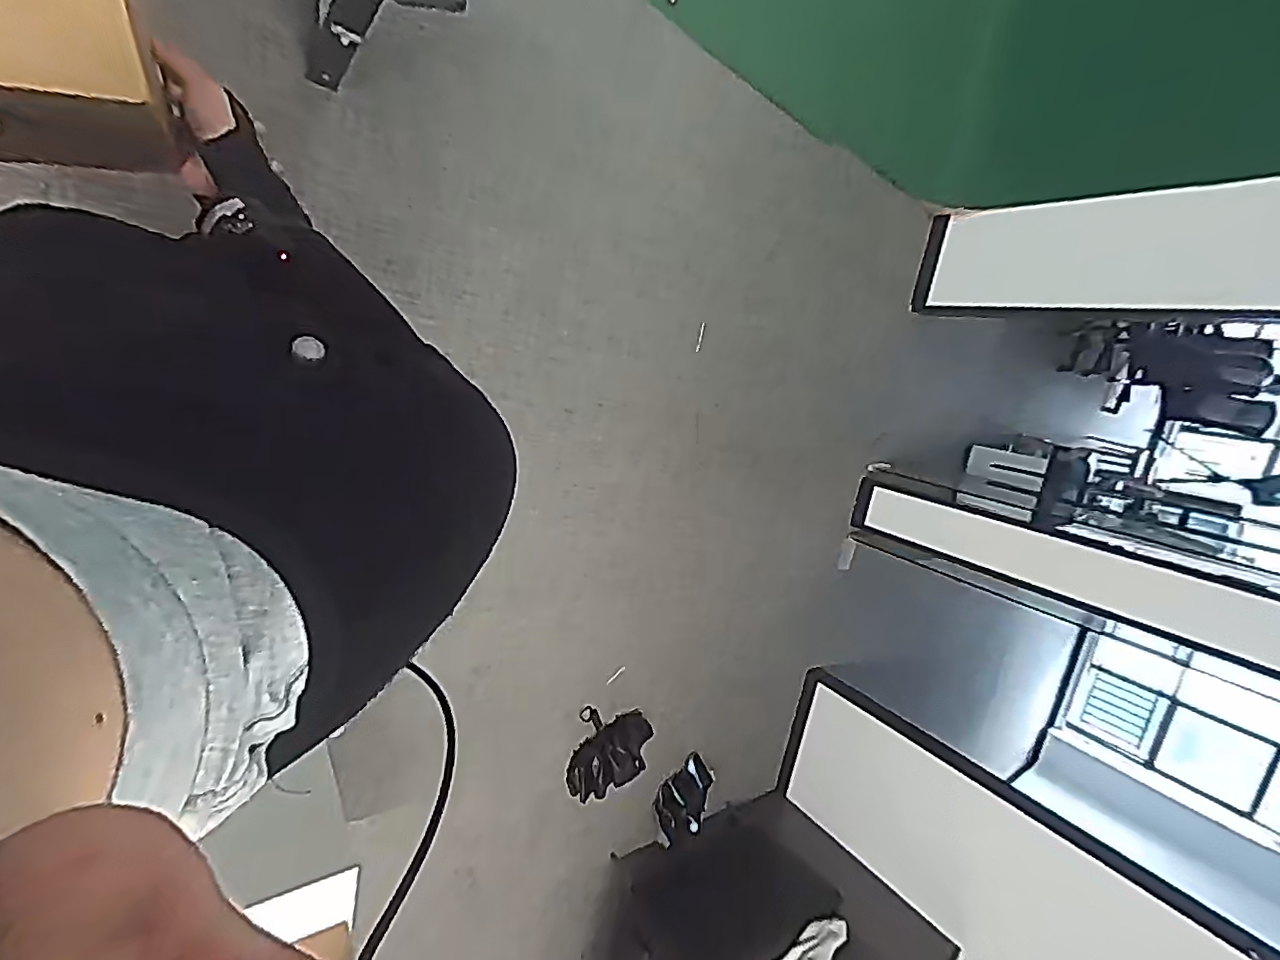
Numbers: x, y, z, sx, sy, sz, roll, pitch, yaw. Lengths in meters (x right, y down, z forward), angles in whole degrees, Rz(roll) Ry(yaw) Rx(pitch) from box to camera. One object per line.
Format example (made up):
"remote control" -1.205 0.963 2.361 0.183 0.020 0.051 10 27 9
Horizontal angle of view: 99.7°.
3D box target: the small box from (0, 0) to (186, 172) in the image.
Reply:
"small box" -0.450 -0.329 0.369 0.179 0.176 0.168 -13 108 -32

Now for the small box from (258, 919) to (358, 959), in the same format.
"small box" -0.639 0.999 1.021 0.179 0.176 0.168 1 105 -39
